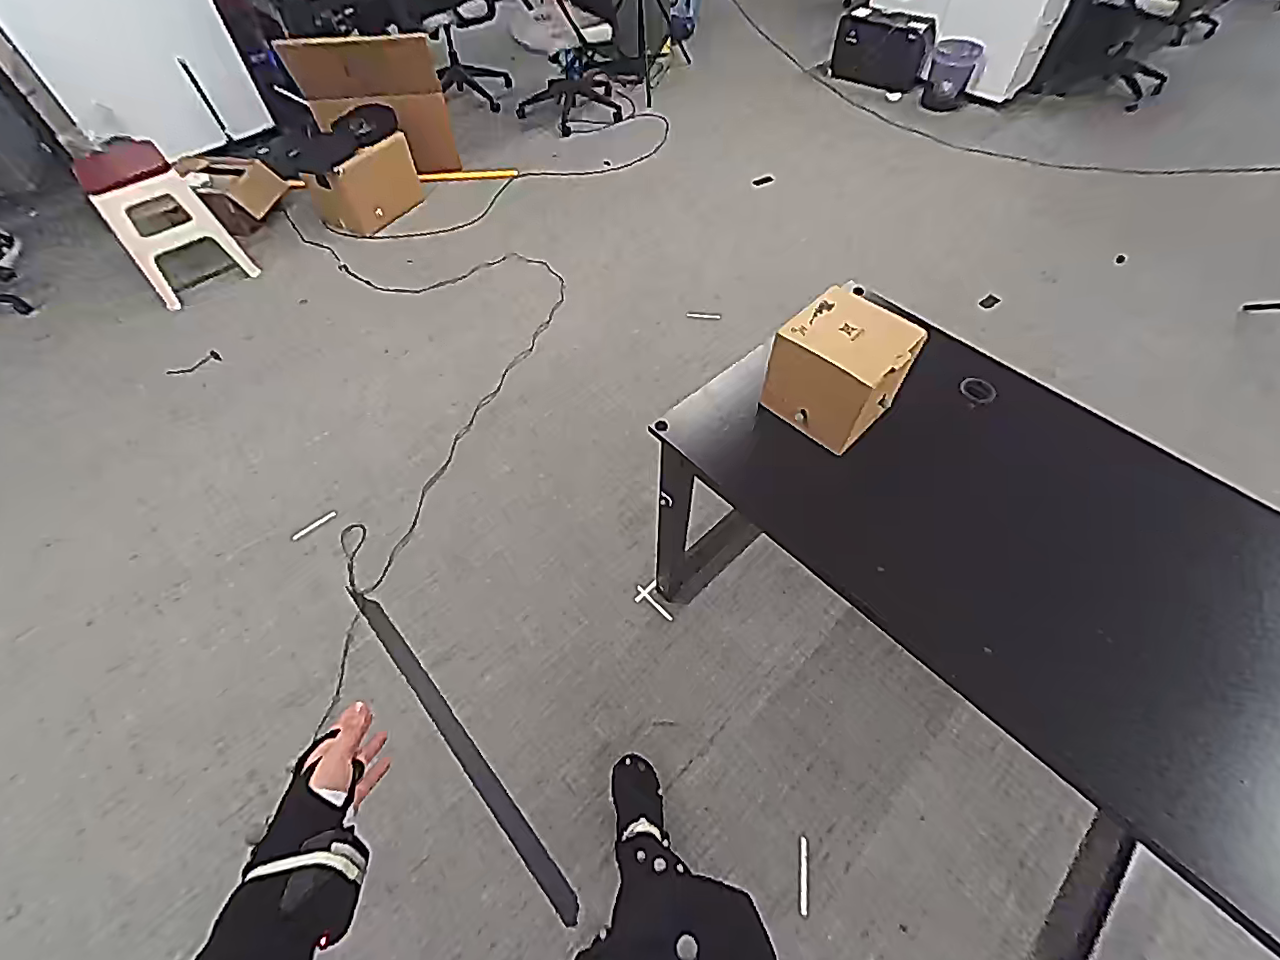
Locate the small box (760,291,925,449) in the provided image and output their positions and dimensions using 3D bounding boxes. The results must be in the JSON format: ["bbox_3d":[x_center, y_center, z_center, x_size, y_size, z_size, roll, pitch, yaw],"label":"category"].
[{"bbox_3d":[0.331,-0.177,0.915,0.179,0.176,0.168,40,64,23],"label":"small box"}]
